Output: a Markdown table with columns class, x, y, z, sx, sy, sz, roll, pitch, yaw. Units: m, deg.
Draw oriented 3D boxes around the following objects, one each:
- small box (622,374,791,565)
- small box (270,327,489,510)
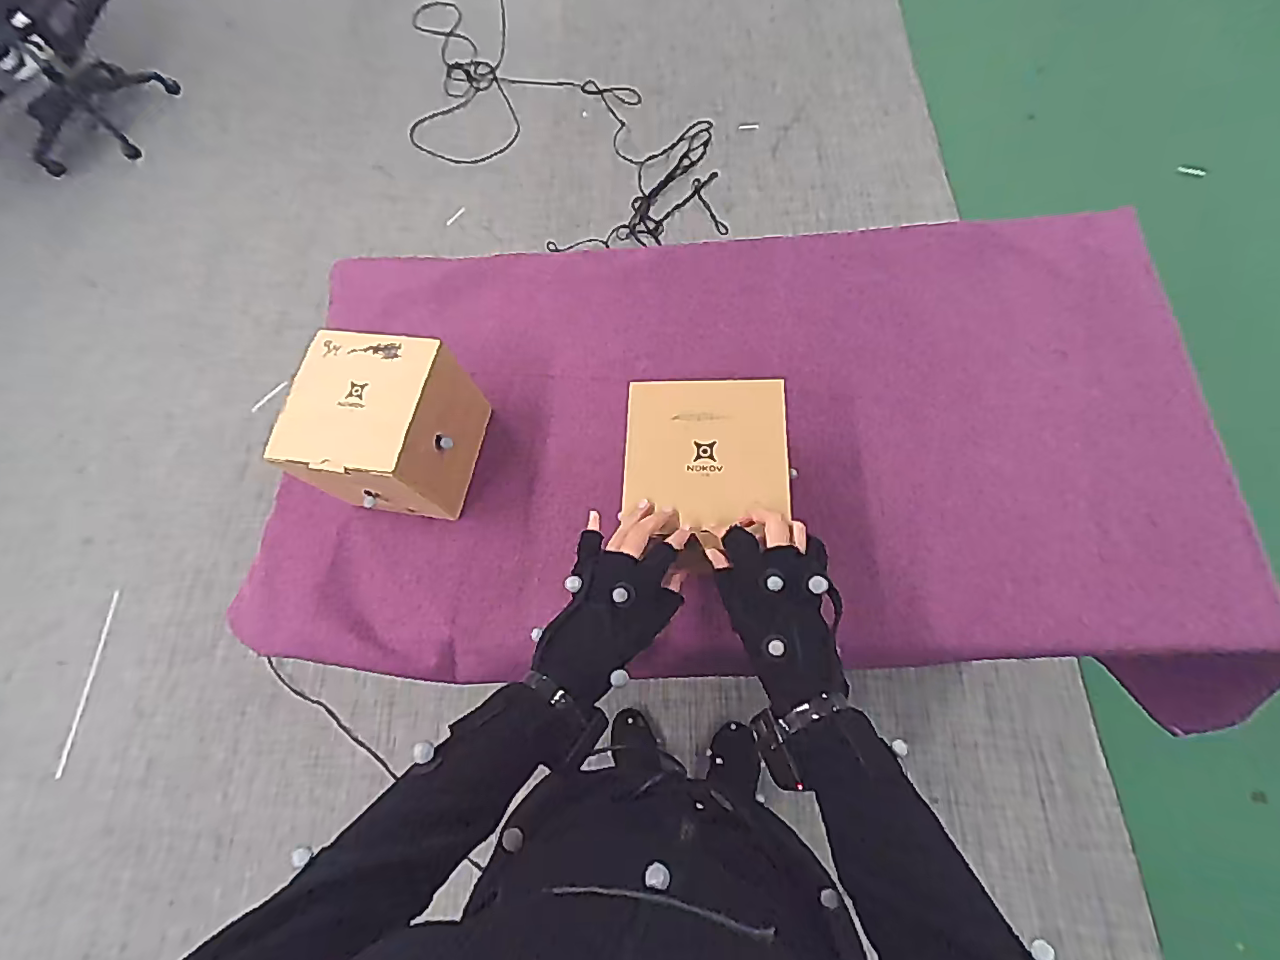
| class | x | y | z | sx | sy | sz | roll | pitch | yaw |
| --- | --- | --- | --- | --- | --- | --- | --- | --- | --- |
| small box | 0.077 | -0.003 | 0.621 | 0.168 | 0.176 | 0.179 | 0 | 69 | 7 |
| small box | -0.314 | -0.070 | 0.695 | 0.168 | 0.176 | 0.179 | 7 | 71 | 9 |
